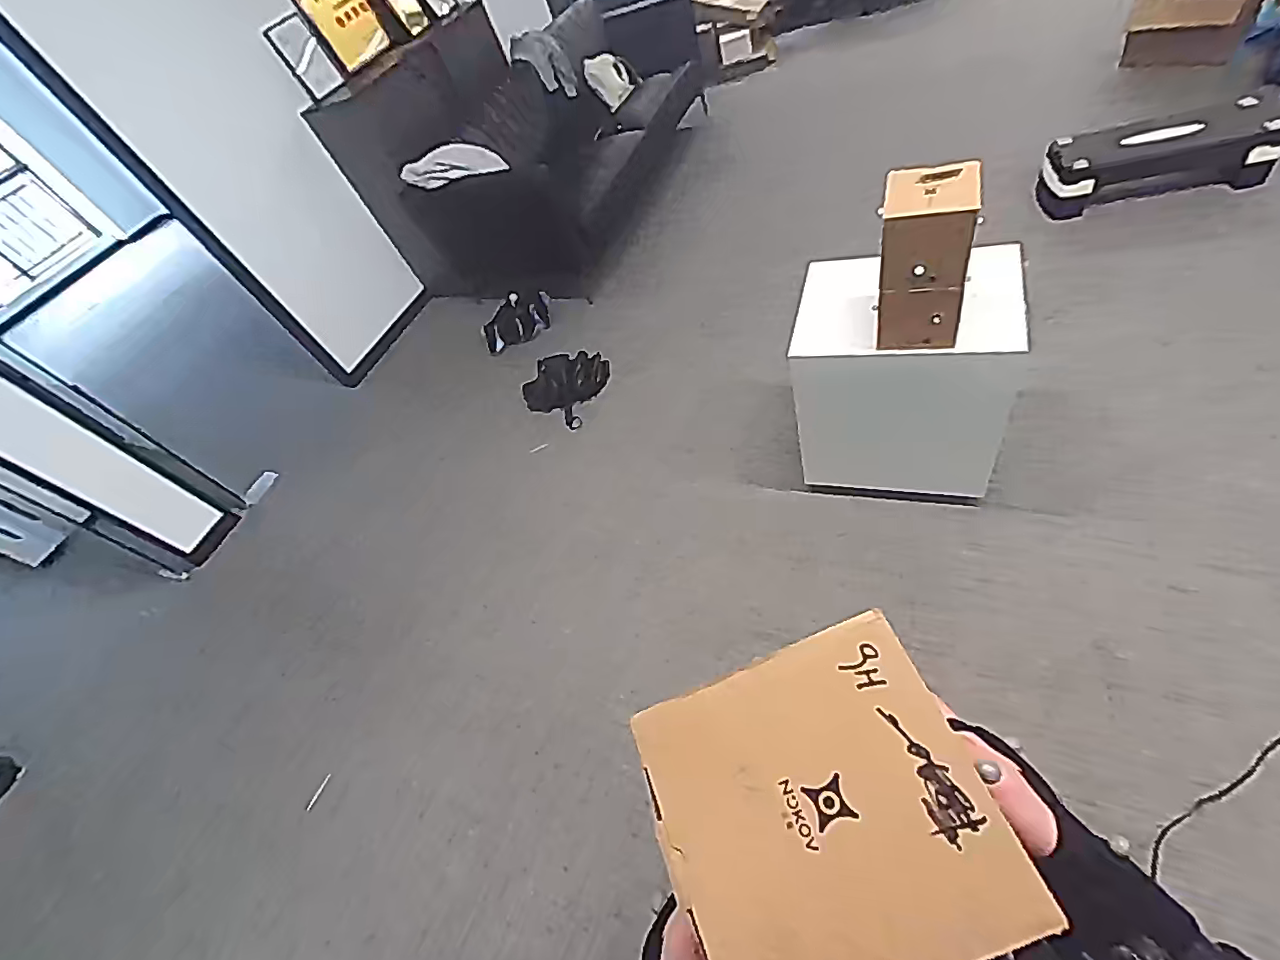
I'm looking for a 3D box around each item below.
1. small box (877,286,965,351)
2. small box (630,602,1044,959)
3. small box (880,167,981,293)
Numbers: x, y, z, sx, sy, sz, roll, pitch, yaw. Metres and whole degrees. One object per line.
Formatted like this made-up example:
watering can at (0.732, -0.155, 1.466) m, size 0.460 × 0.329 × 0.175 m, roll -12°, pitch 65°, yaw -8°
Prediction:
small box at (0.643, -0.412, 1.243) m, size 0.168 × 0.176 × 0.179 m, roll 5°, pitch 54°, yaw 24°
small box at (0.119, 0.209, 0.377) m, size 0.179 × 0.176 × 0.168 m, roll -26°, pitch 62°, yaw 6°
small box at (0.597, -0.512, 1.121) m, size 0.168 × 0.176 × 0.179 m, roll 6°, pitch 56°, yaw 25°
